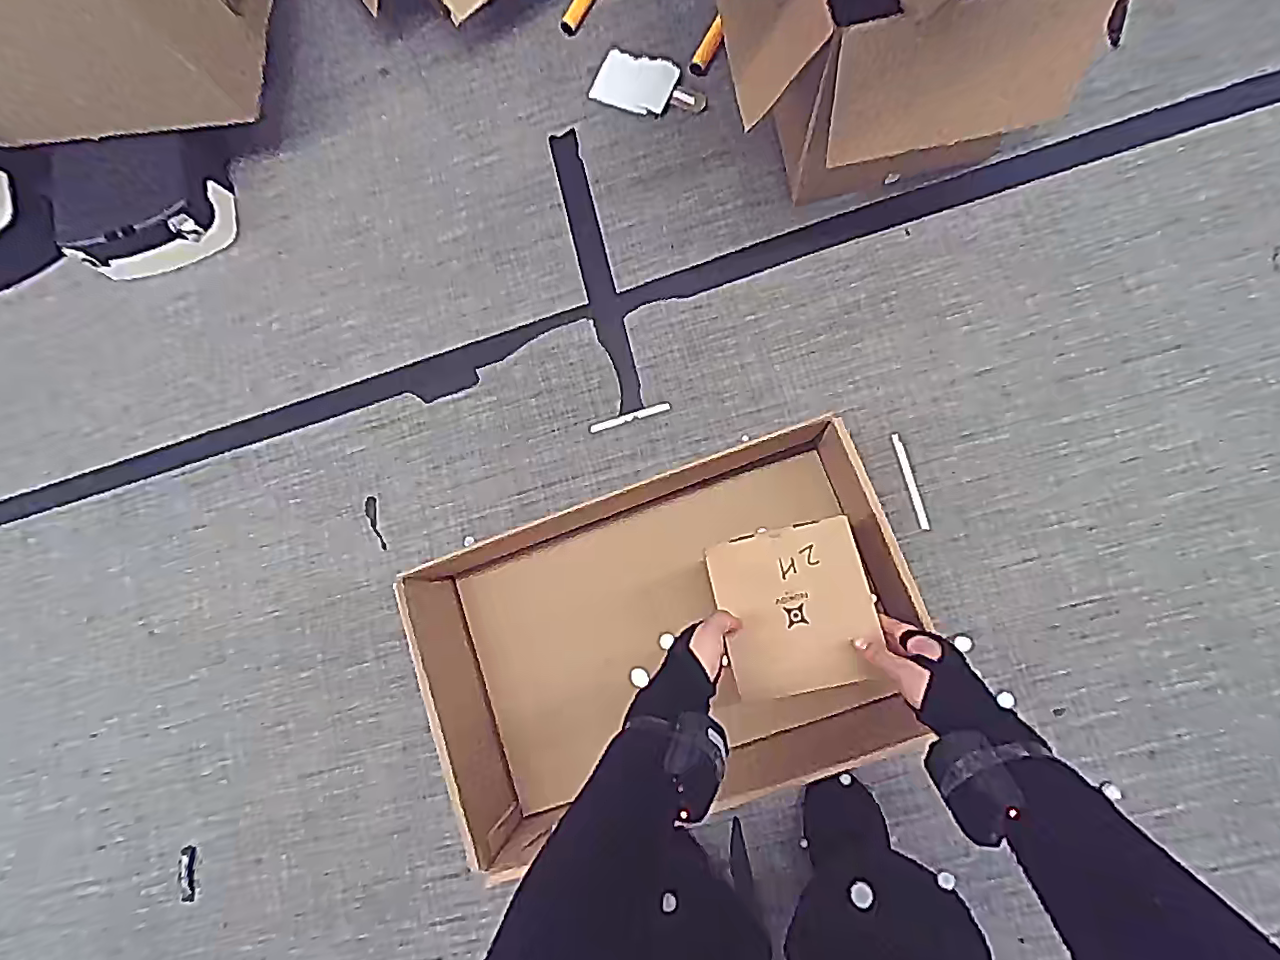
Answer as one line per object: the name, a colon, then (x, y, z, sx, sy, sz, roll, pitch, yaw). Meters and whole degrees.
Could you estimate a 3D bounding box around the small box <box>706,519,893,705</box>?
small box: (0.180, 0.158, 0.662, 0.168, 0.176, 0.179, -12, 75, 4)
